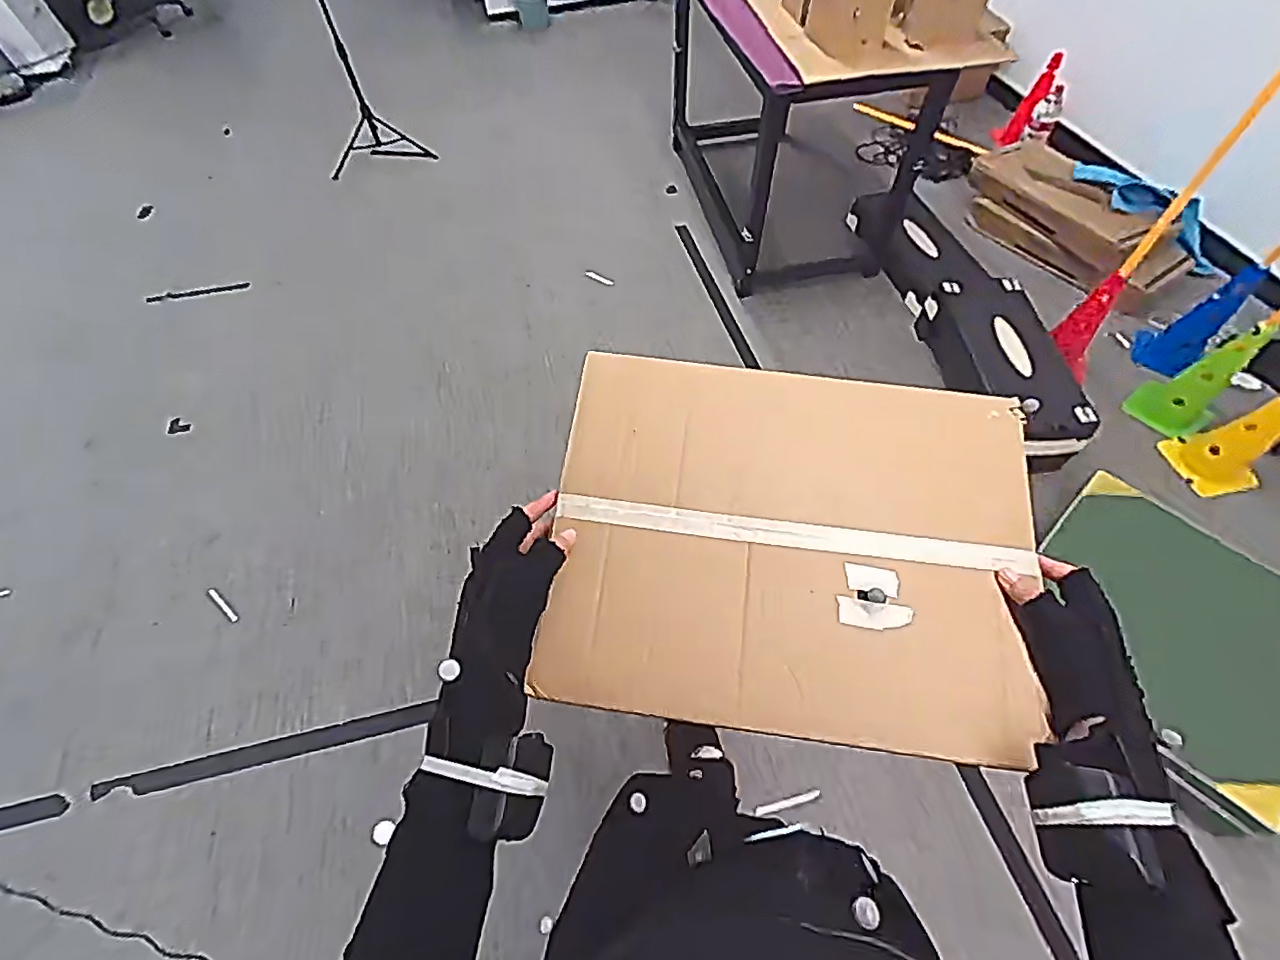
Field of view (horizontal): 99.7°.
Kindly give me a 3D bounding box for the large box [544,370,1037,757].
[{"bbox_3d":[0.134,0.102,0.621,0.408,0.320,0.320,7,72,3],"label":"large box"}]
